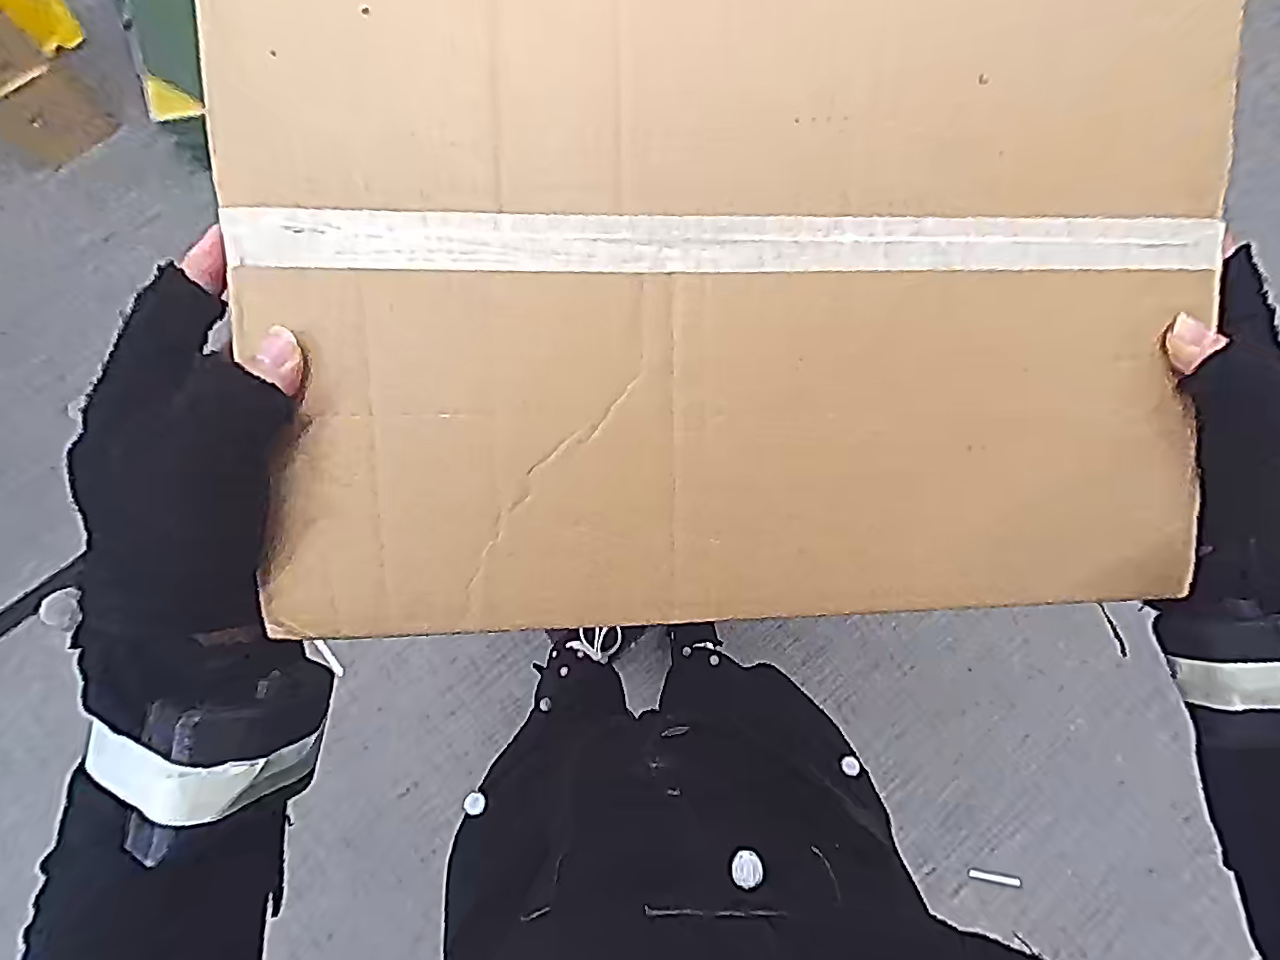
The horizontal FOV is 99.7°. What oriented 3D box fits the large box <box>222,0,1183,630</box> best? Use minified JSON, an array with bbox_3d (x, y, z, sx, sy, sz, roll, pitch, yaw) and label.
[{"bbox_3d":[0.030,-0.114,0.380,0.408,0.320,0.320,-2,96,-5],"label":"large box"}]
